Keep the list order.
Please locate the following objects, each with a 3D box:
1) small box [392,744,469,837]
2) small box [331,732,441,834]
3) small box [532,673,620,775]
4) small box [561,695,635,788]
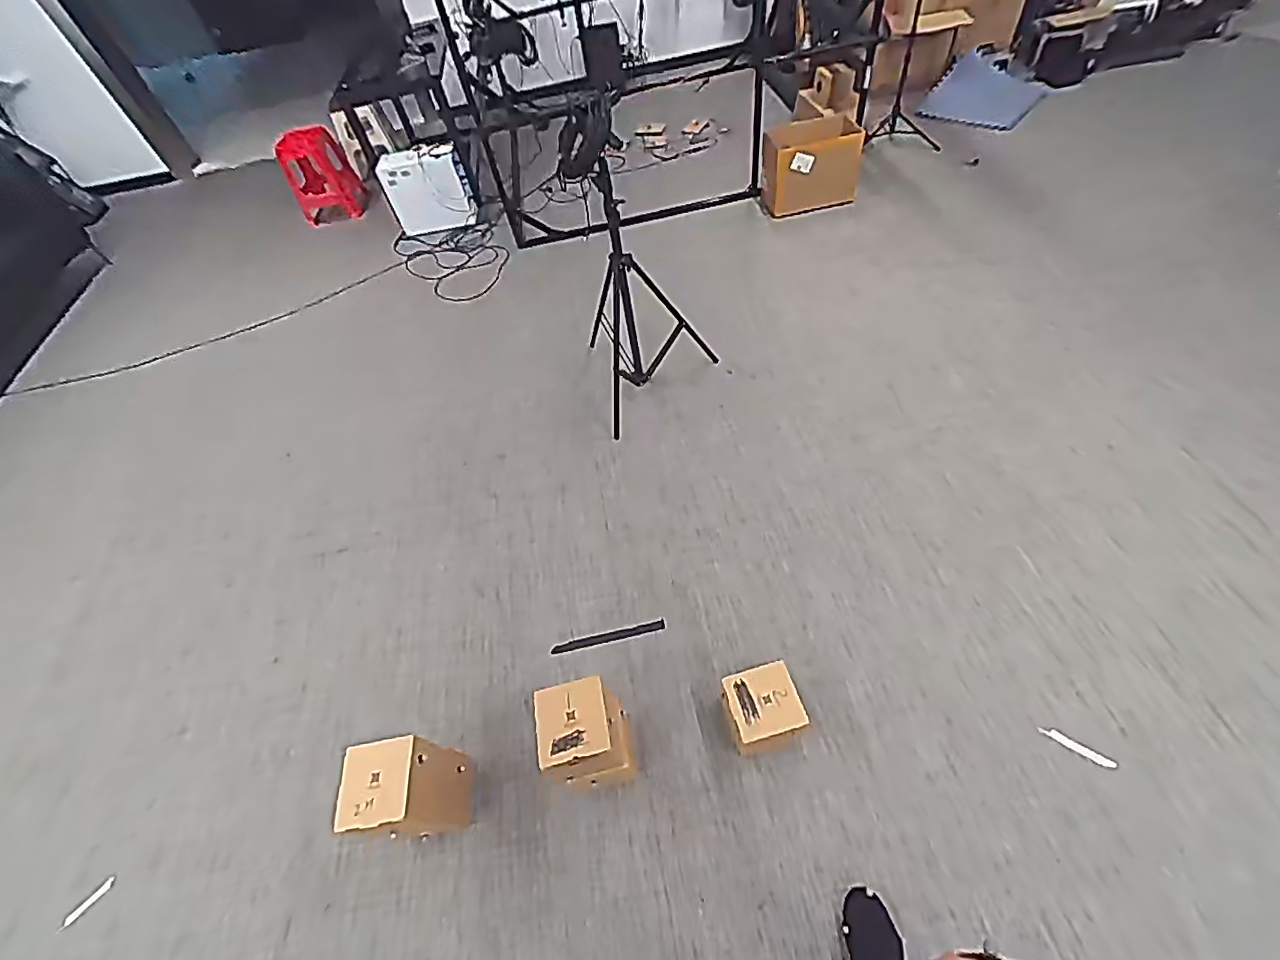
[{"bbox_3d":[-0.558,0.813,1.412,0.168,0.176,0.179,-11,52,2],"label":"small box"},{"bbox_3d":[-0.588,0.720,1.280,0.168,0.176,0.179,-12,53,2],"label":"small box"},{"bbox_3d":[-0.152,0.594,1.301,0.168,0.176,0.179,-14,51,-1],"label":"small box"},{"bbox_3d":[-0.117,0.695,1.426,0.168,0.176,0.179,-15,51,-1],"label":"small box"}]
